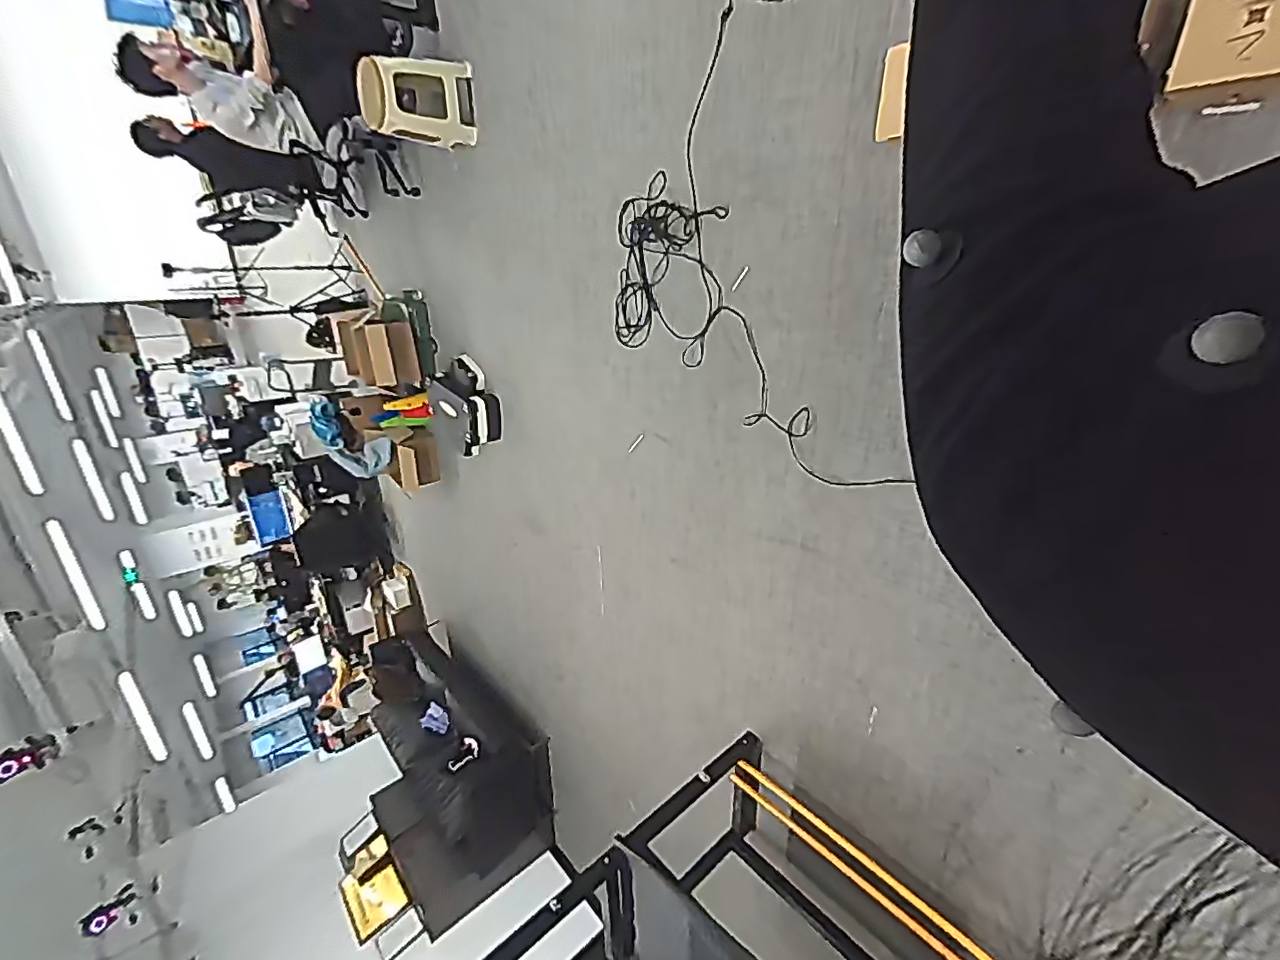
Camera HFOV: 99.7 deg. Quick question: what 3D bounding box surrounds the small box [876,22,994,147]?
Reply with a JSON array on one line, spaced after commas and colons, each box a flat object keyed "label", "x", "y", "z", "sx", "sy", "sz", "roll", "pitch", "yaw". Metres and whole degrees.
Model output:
[{"label": "small box", "x": 0.648, "y": -0.854, "z": 1.186, "sx": 0.168, "sy": 0.176, "sz": 0.179, "roll": 23, "pitch": 122, "yaw": 45}]
